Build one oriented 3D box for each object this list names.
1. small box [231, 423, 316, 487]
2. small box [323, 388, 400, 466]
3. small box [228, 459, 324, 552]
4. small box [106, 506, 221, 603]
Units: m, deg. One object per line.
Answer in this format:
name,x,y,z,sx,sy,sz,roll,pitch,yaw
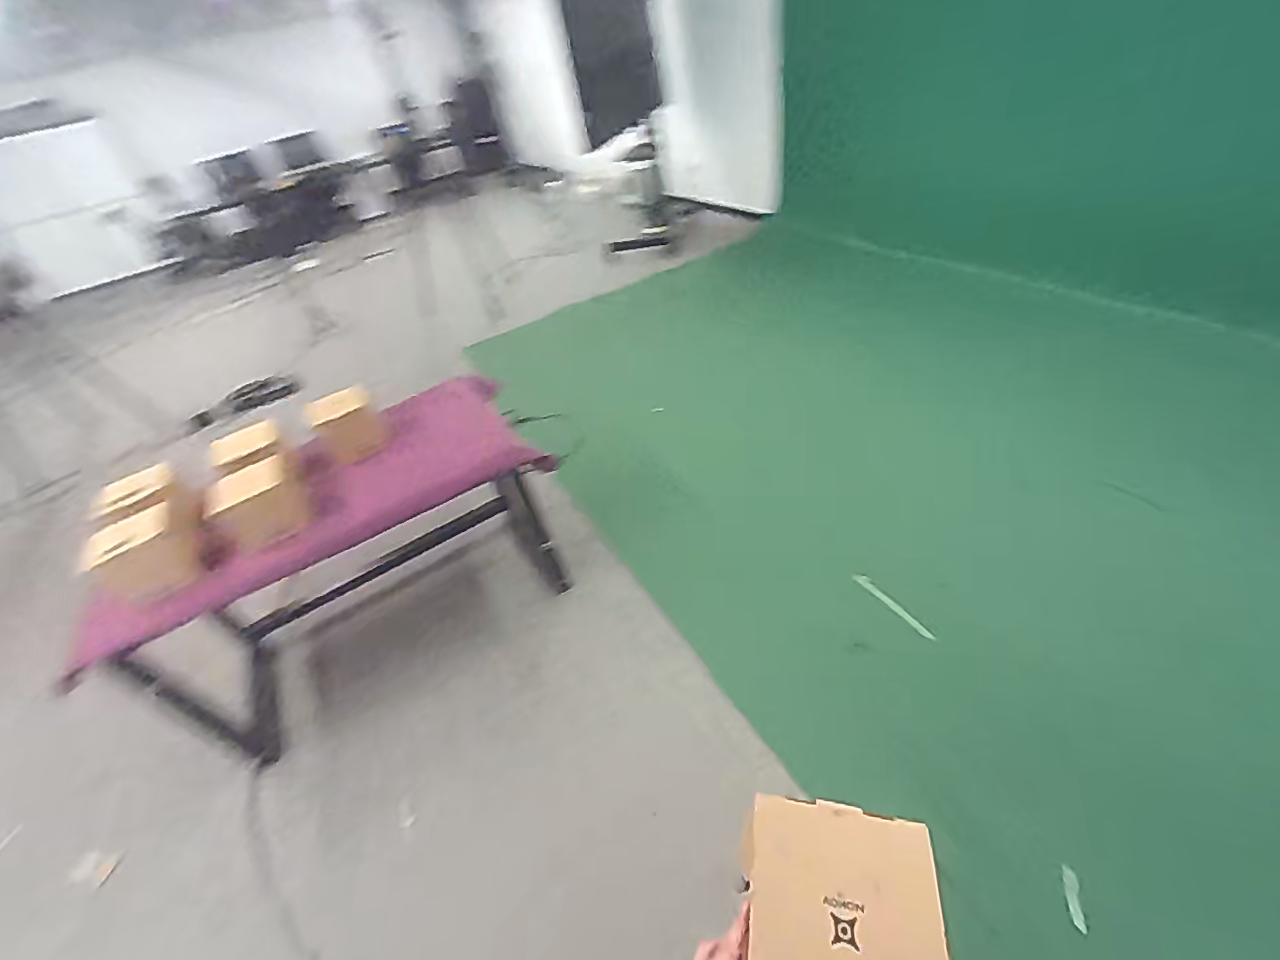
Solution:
small box,-1.175,-0.050,1.740,0.168,0.176,0.179,-29,43,-17
small box,-0.933,-0.176,1.811,0.168,0.176,0.179,-28,43,-15
small box,-1.042,0.075,1.556,0.168,0.176,0.179,-29,43,-16
small box,-1.279,0.208,1.466,0.168,0.176,0.179,-30,41,-19
